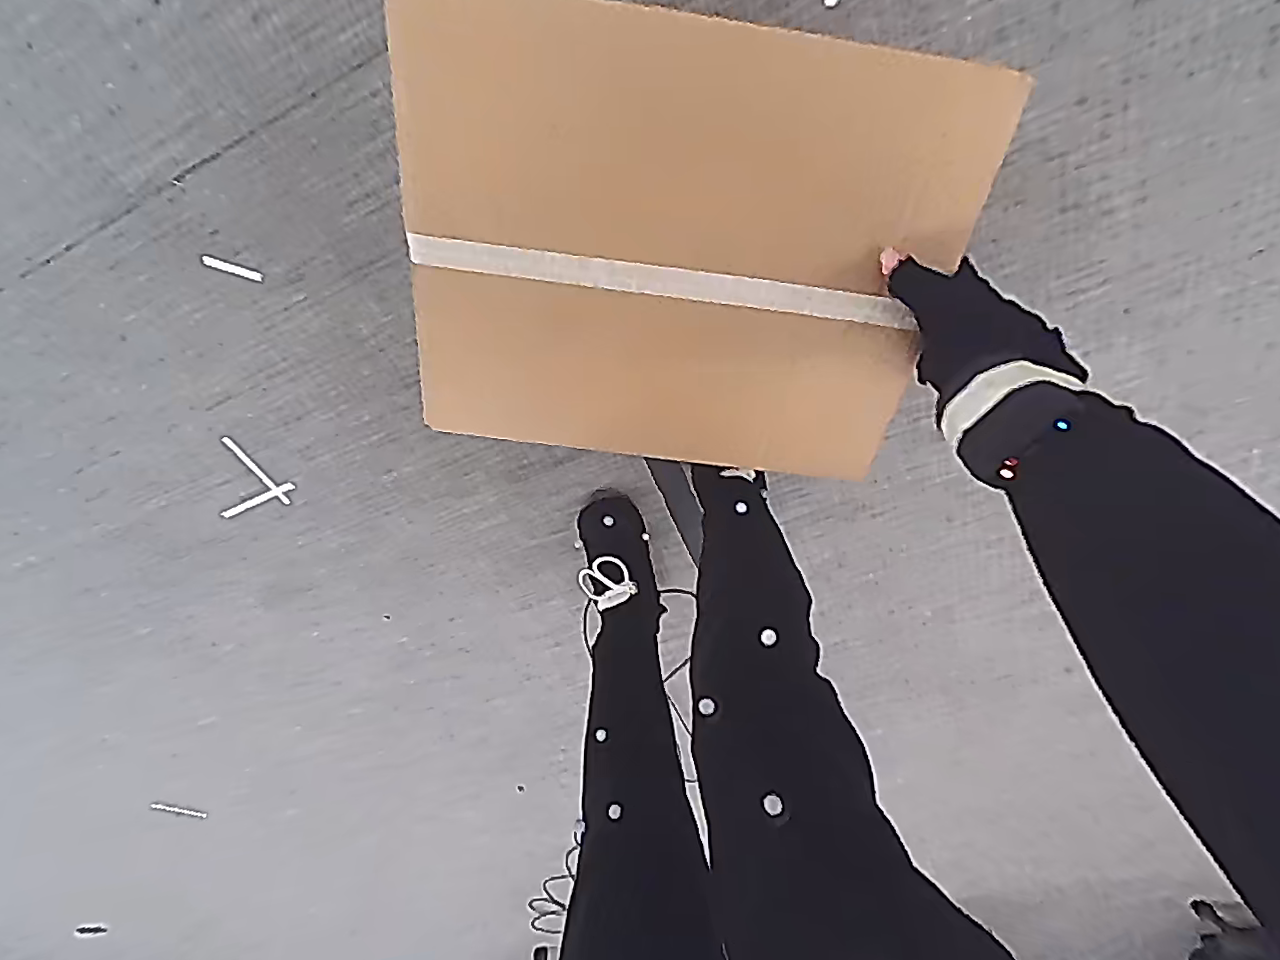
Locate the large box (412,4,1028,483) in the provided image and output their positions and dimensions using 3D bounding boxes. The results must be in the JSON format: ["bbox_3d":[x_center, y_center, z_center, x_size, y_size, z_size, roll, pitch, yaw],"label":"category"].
[{"bbox_3d":[0.040,-0.224,0.545,0.408,0.320,0.320,7,124,-3],"label":"large box"}]
